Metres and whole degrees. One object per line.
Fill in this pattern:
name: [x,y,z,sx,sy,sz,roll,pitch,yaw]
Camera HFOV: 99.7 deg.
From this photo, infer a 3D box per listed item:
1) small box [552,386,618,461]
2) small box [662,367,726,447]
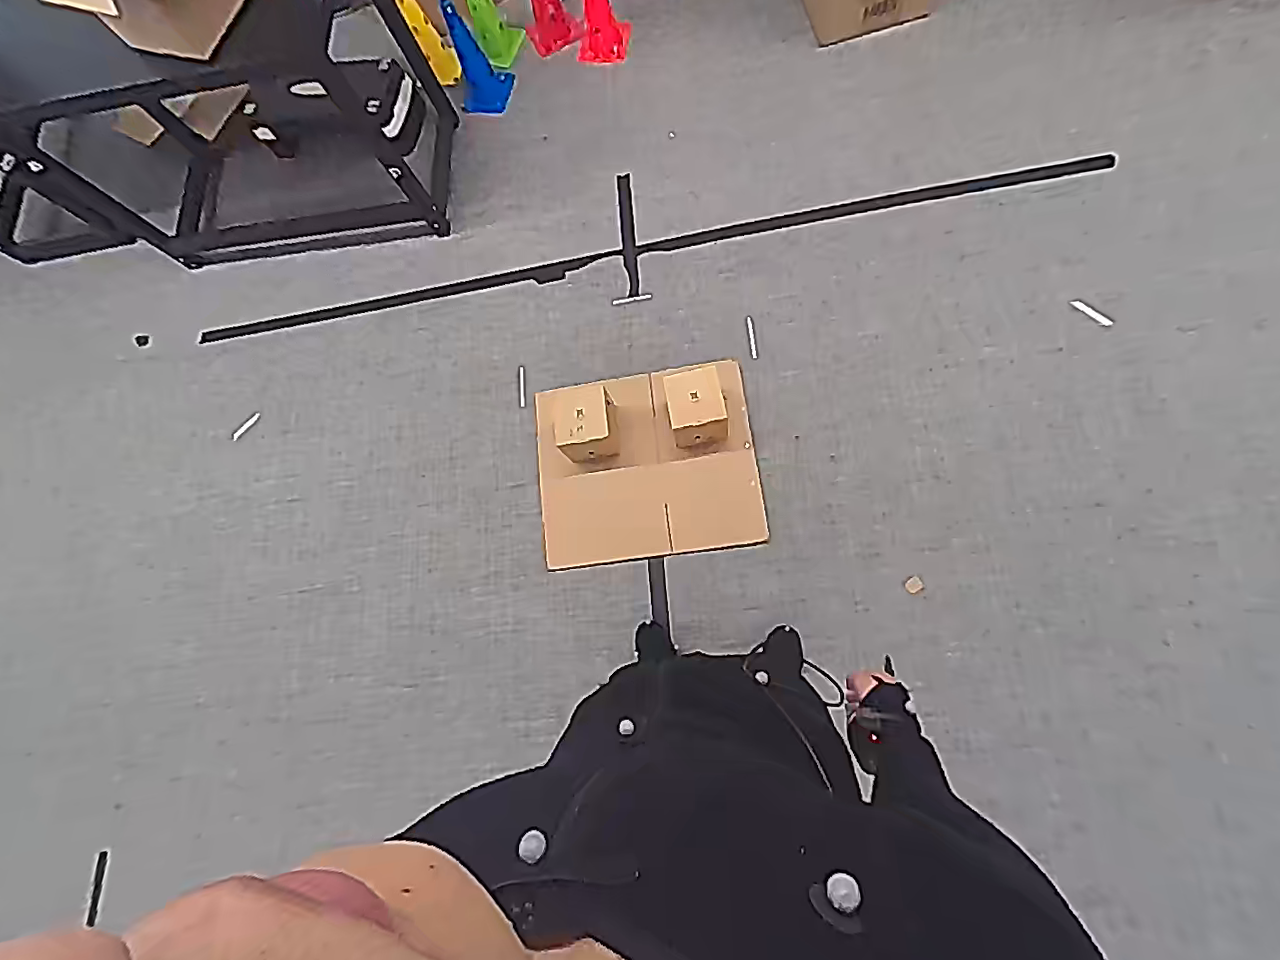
small box: [-0.172,-0.174,1.704,0.168,0.176,0.179,-9,75,8]
small box: [0.167,-0.221,1.668,0.168,0.176,0.179,-12,74,6]
